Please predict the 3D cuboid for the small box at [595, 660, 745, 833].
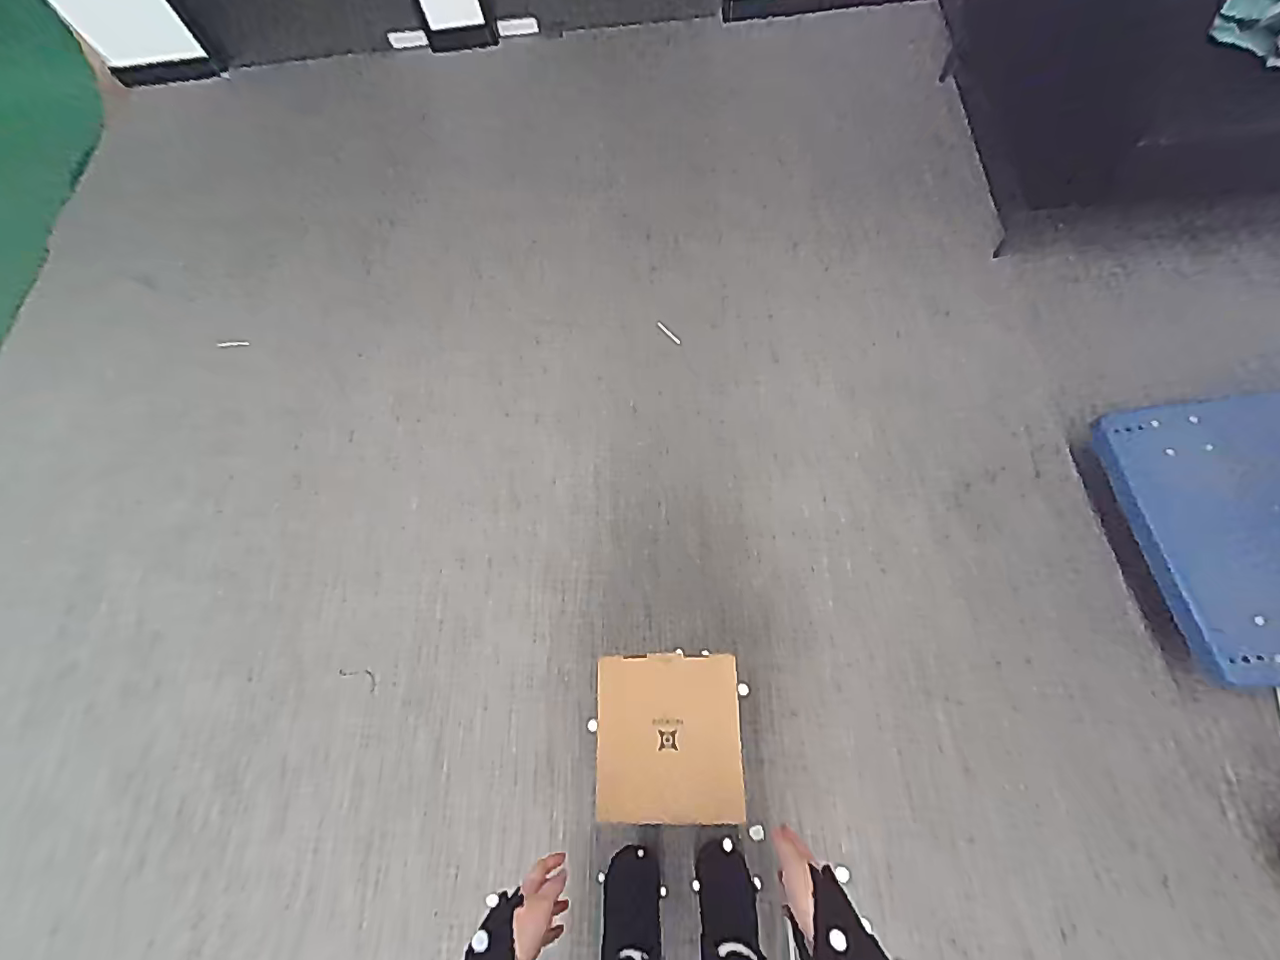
[{"bbox_3d":[0.040,0.323,0.681,0.168,0.176,0.179,-3,68,5],"label":"small box"}]
